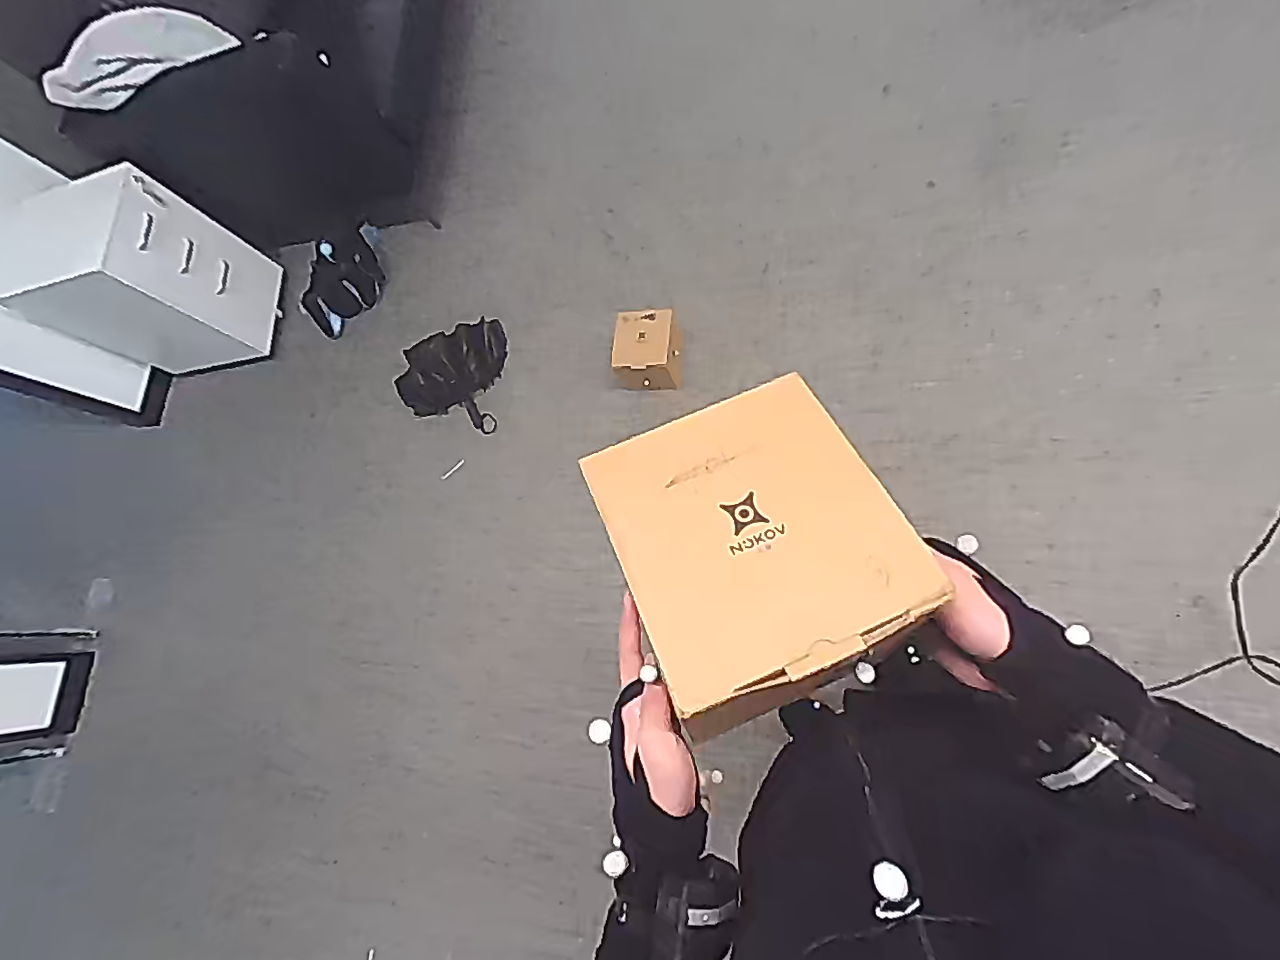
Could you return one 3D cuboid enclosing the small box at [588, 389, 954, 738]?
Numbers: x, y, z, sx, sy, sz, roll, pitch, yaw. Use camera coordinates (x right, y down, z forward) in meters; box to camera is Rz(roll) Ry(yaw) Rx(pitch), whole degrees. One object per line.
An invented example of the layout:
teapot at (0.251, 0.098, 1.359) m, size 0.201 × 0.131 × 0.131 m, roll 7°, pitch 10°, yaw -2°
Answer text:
small box at (0.079, 0.072, 0.399) m, size 0.168 × 0.176 × 0.179 m, roll -22°, pitch 58°, yaw -5°
